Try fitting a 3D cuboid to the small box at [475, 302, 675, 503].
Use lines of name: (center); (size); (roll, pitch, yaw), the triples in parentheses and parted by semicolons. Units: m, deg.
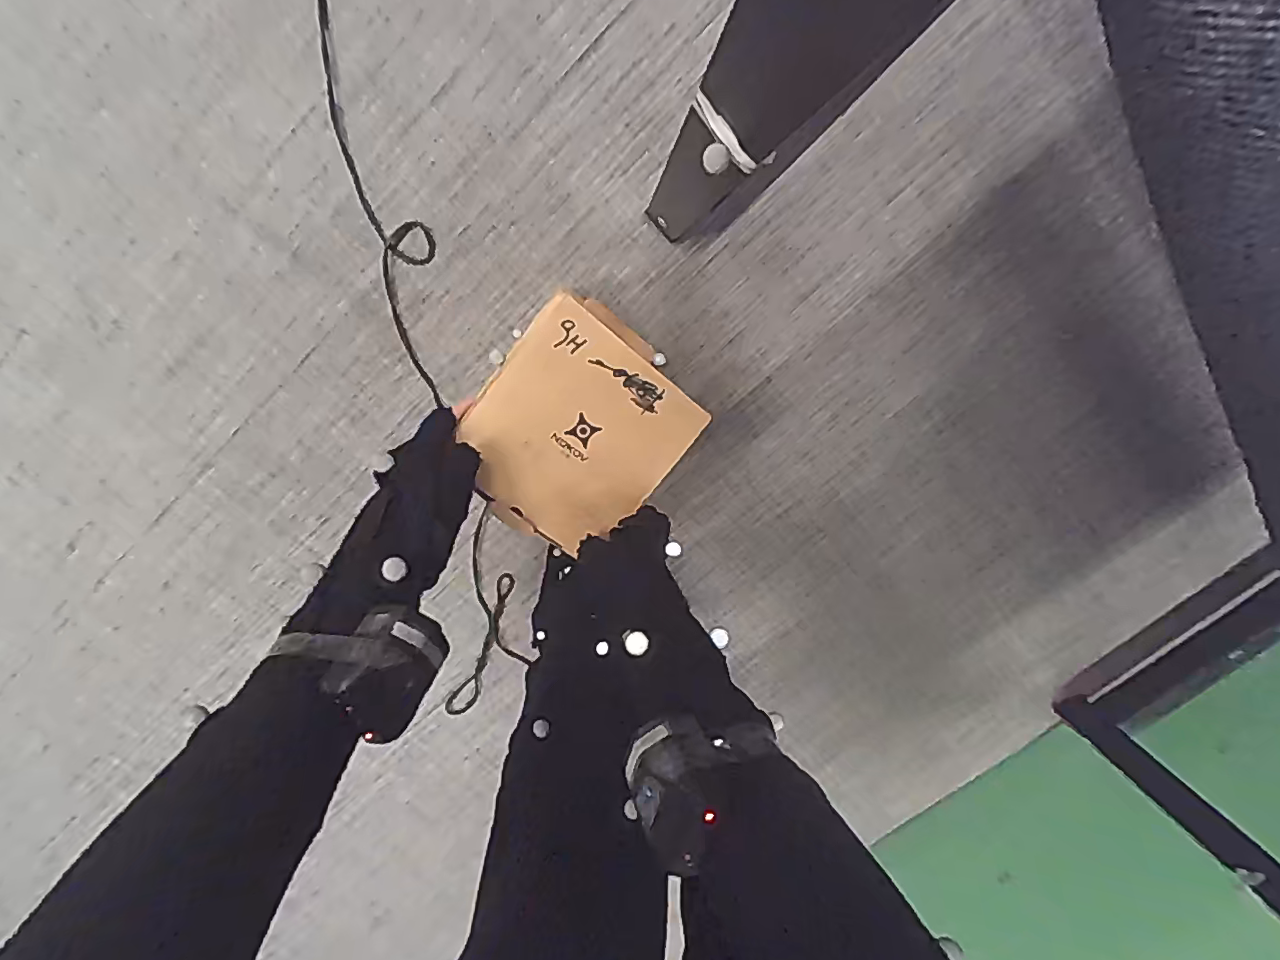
small box: (-0.080, -0.108, 0.694); (0.168, 0.176, 0.179); (38, 102, -13)
